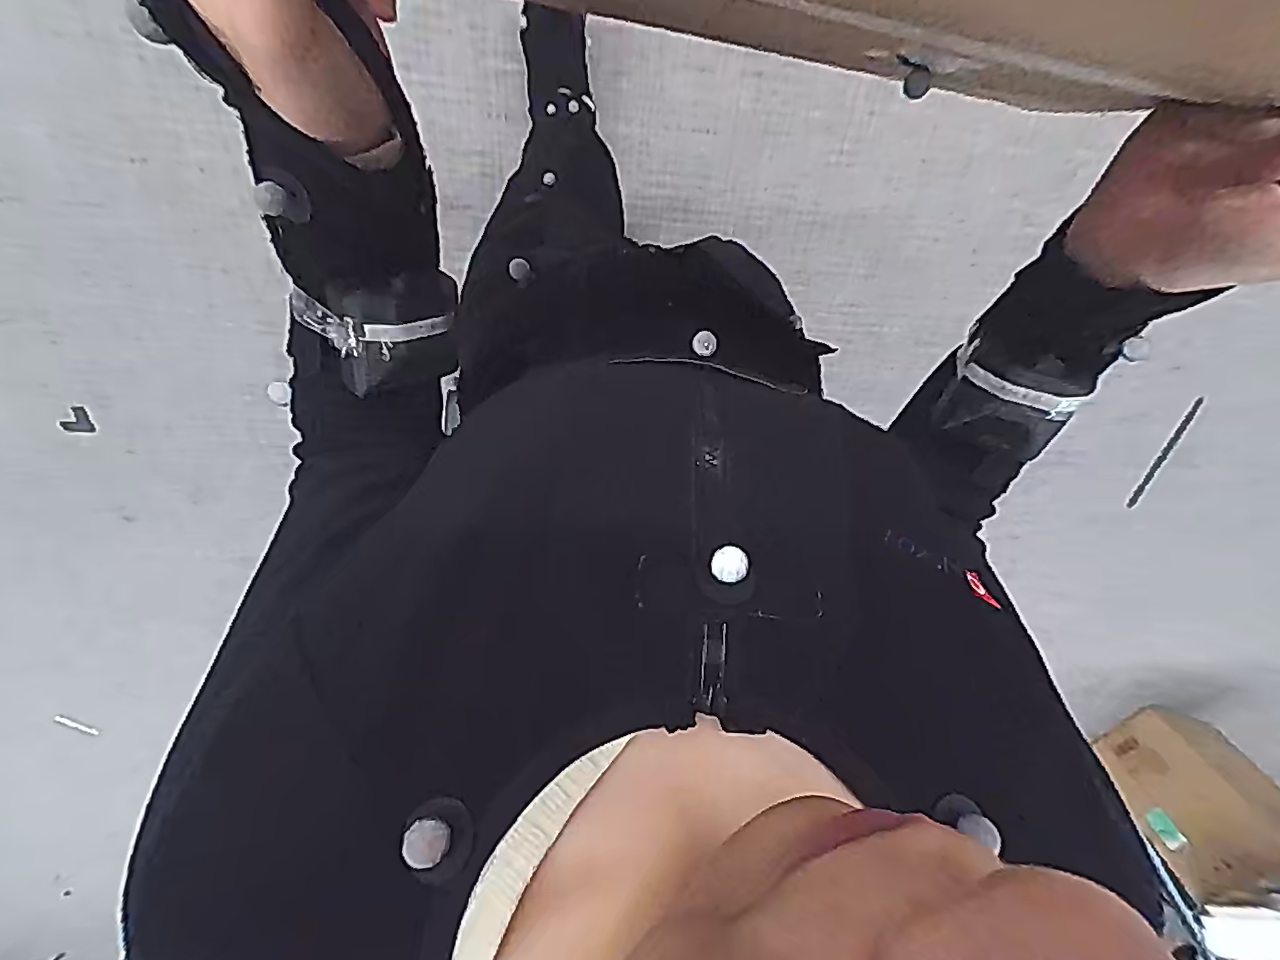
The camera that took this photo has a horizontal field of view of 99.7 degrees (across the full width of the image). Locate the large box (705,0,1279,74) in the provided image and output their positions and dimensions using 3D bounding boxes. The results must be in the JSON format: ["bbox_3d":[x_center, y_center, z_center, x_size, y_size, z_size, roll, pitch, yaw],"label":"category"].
[{"bbox_3d":[0.093,-0.318,0.110,0.408,0.320,0.320,5,124,-7],"label":"large box"}]
